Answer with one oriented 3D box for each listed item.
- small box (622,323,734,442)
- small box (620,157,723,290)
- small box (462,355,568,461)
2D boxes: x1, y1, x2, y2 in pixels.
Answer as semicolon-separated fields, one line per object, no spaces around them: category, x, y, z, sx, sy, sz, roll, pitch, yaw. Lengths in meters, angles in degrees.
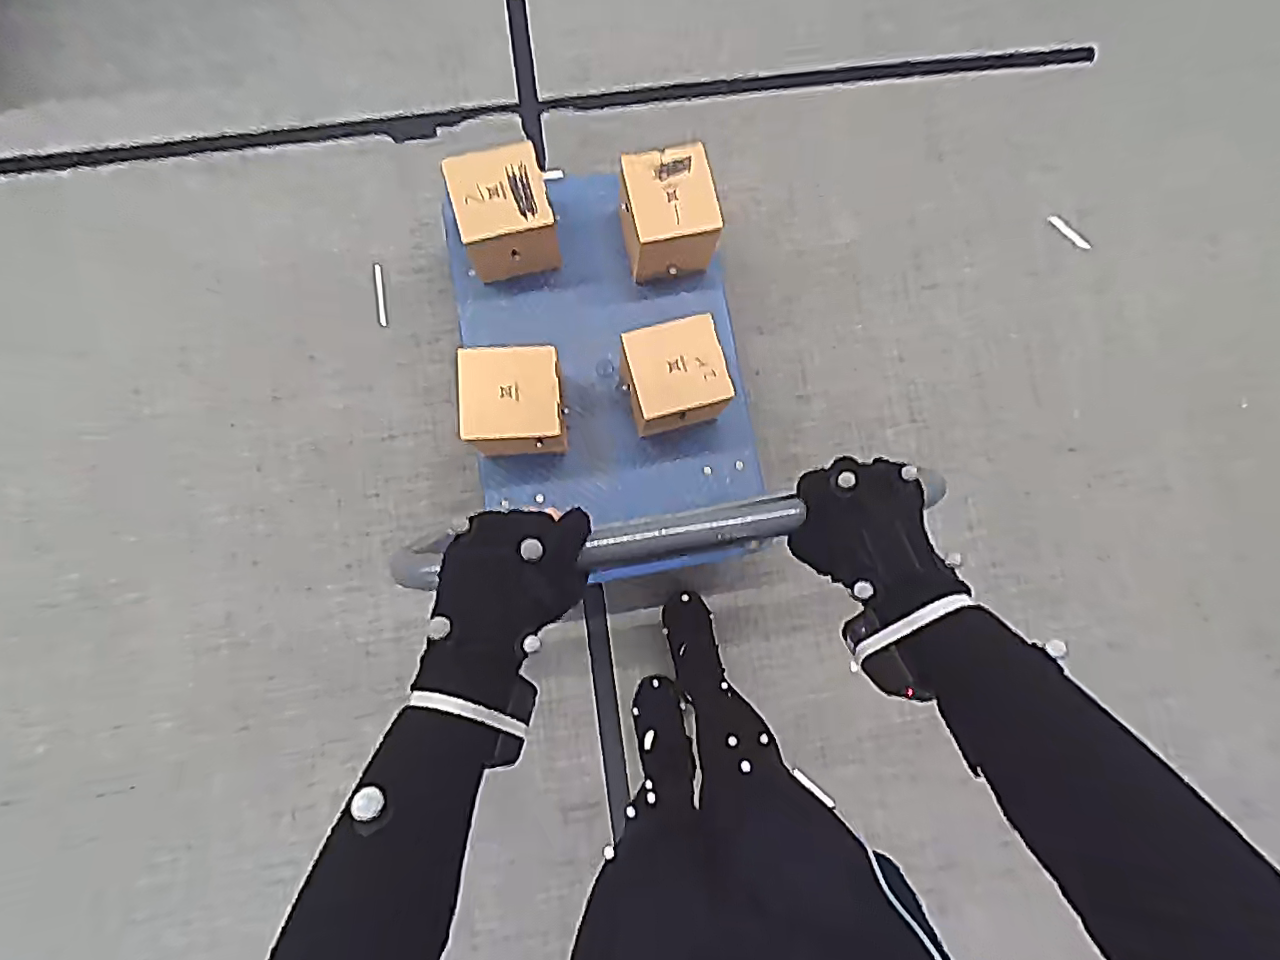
small box;0.066;-0.184;1.071;0.179;0.176;0.168;-15;84;-5
small box;0.056;-0.519;1.112;0.168;0.176;0.179;-12;85;-5
small box;-0.235;-0.132;1.046;0.179;0.176;0.168;-3;83;-5
